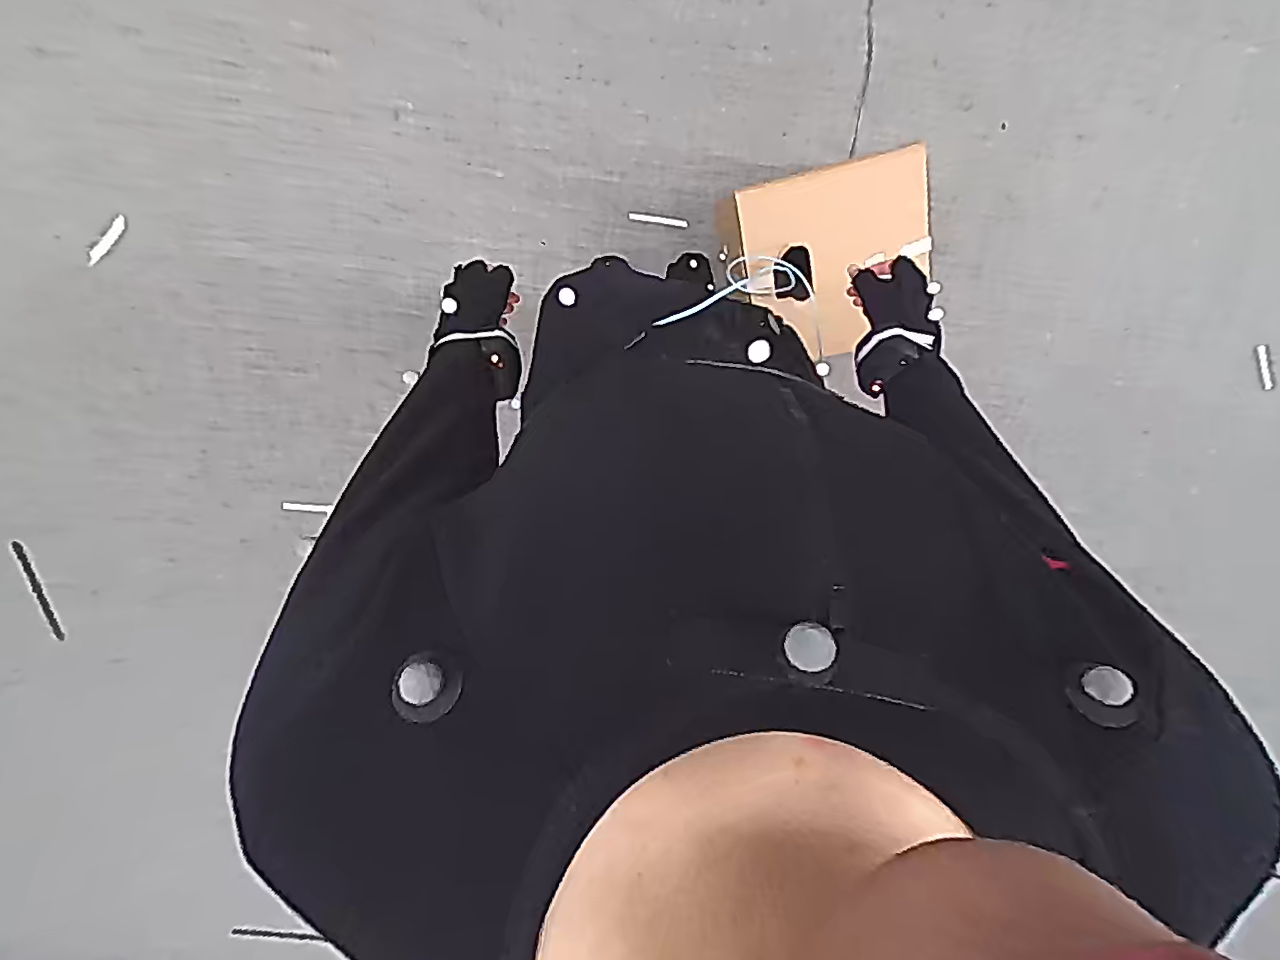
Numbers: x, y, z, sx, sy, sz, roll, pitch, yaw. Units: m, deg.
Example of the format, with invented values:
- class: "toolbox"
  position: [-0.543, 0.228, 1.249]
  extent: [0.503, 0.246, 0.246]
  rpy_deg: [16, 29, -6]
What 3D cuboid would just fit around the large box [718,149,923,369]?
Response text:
- class: "large box"
  position: [0.352, -0.454, 1.133]
  extent: [0.320, 0.408, 0.320]
  rpy_deg: [-10, 113, 9]
